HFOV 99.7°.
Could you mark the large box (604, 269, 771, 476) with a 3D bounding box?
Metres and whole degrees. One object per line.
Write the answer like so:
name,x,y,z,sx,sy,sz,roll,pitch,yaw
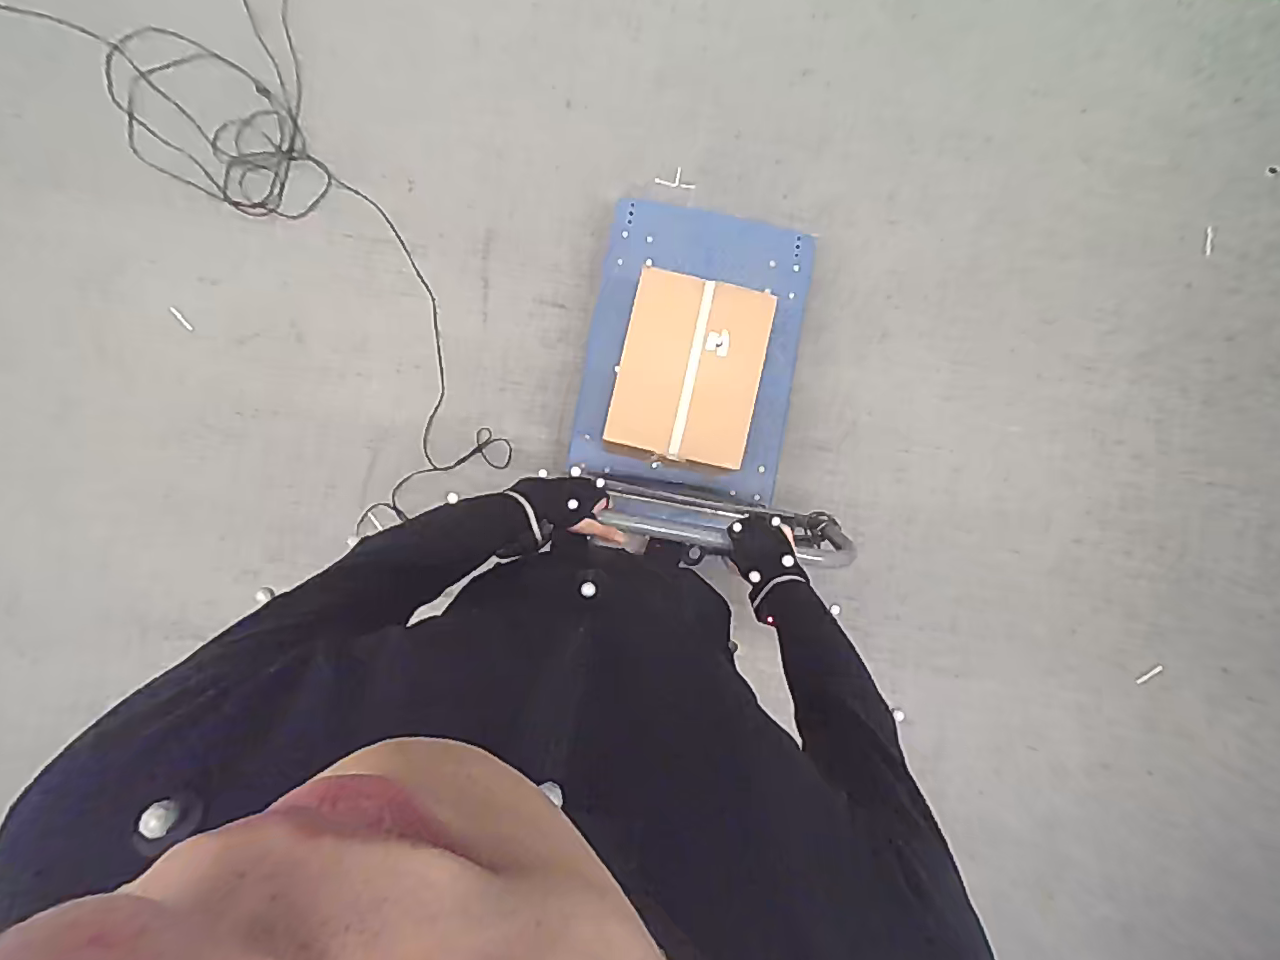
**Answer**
large box,0.104,-0.239,1.351,0.320,0.320,0.408,13,86,-2
